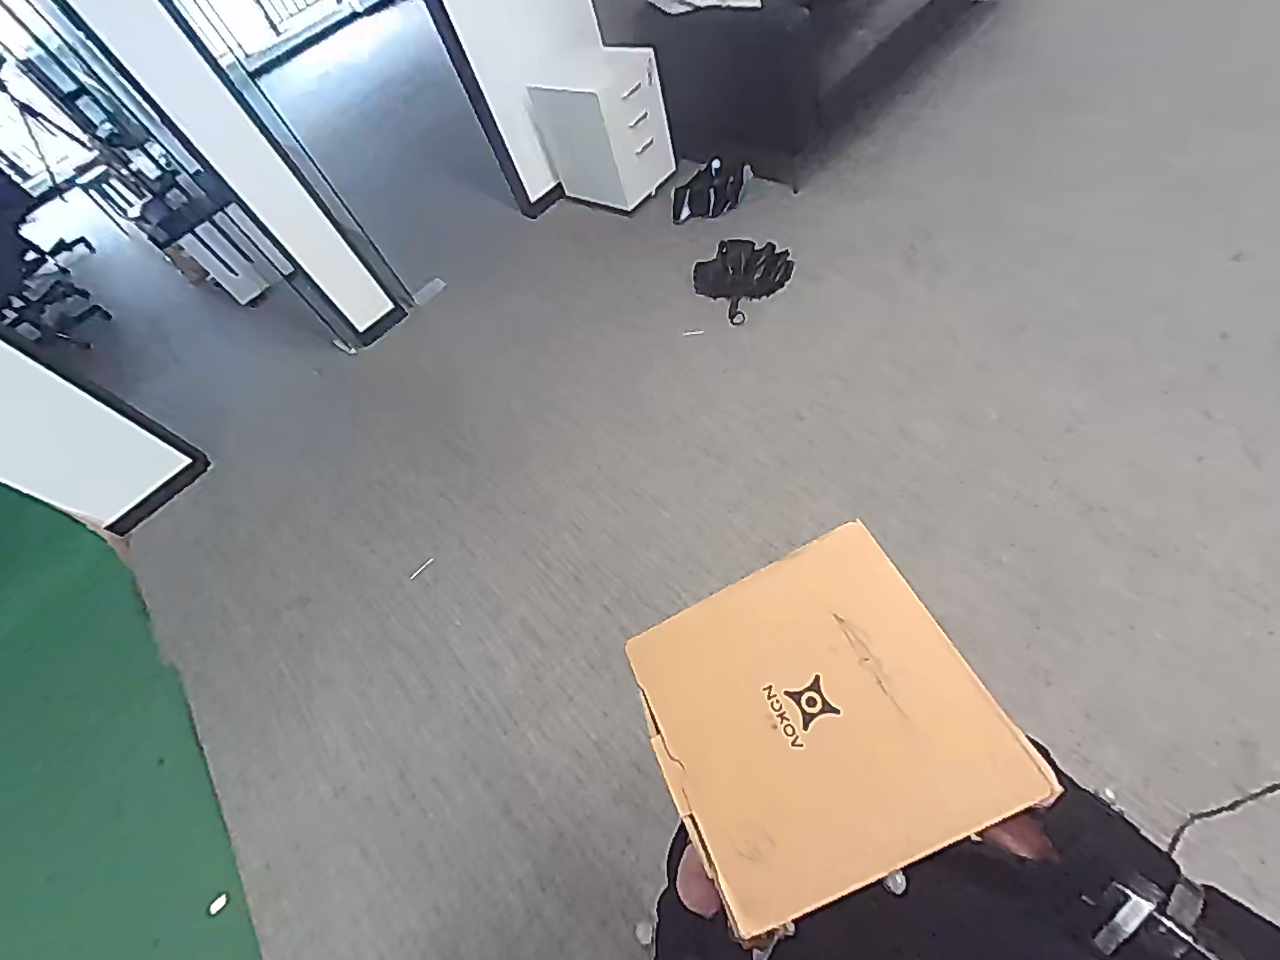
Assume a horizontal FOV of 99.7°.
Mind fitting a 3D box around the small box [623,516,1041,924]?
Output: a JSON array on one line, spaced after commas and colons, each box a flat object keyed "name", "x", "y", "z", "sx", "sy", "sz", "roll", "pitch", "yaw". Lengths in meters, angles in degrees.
[{"name": "small box", "x": 0.117, "y": 0.159, "z": 0.376, "sx": 0.179, "sy": 0.176, "sz": 0.168, "roll": -30, "pitch": 59, "yaw": 4}]
